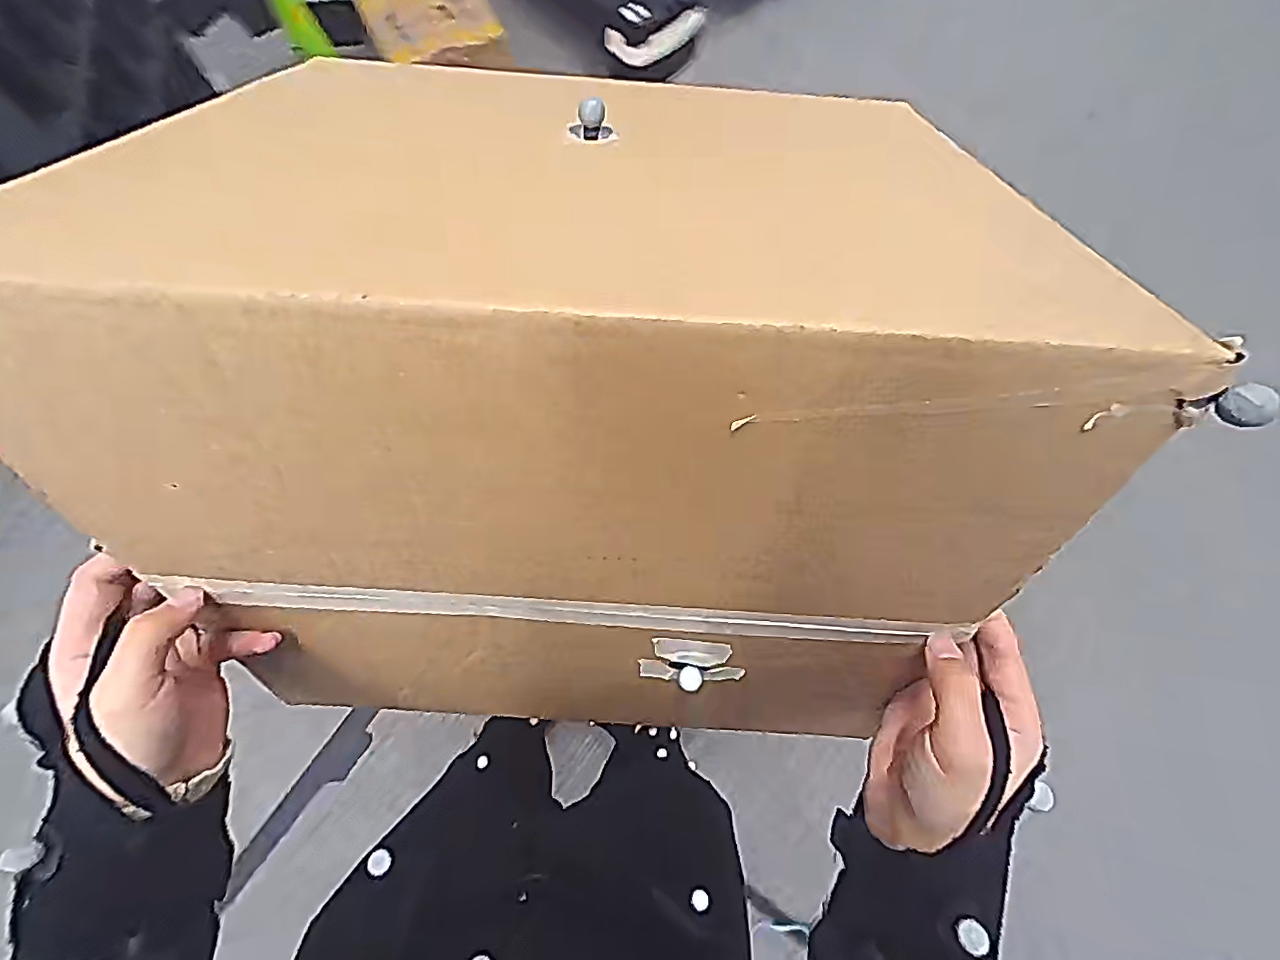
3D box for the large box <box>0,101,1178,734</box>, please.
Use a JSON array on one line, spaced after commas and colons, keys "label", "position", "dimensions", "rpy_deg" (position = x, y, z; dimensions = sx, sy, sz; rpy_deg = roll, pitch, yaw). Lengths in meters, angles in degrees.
[{"label": "large box", "position": [-0.029, -0.044, 0.379], "dimensions": [0.408, 0.320, 0.320], "rpy_deg": [4, 47, 0]}]
